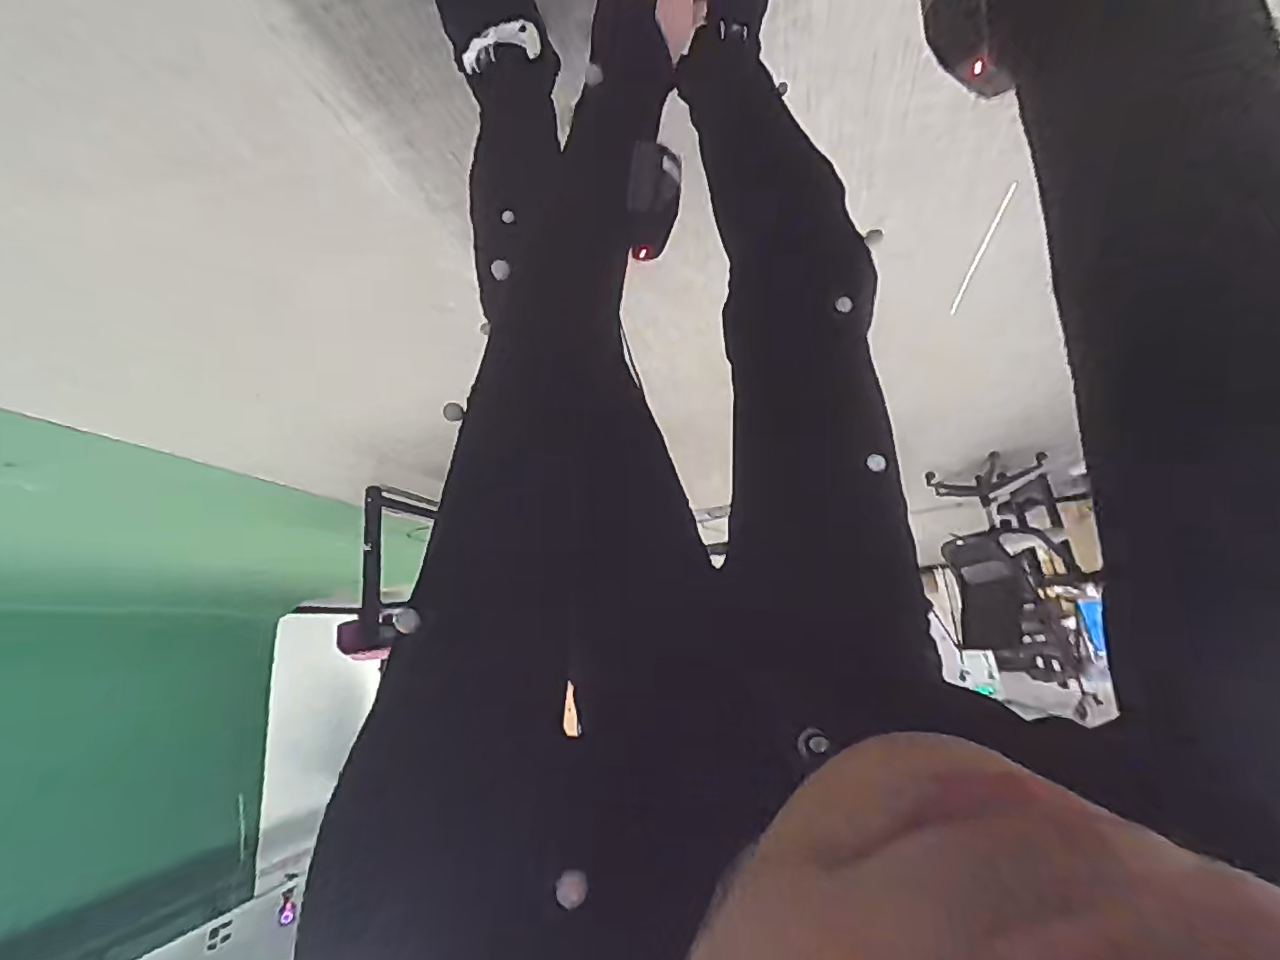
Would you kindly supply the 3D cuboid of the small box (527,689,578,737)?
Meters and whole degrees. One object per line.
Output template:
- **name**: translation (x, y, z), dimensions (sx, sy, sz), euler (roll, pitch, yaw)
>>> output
- **small box**: translation (-0.375, 0.990, 2.311), dimensions (0.168, 0.176, 0.179), euler (-10, 162, 15)
